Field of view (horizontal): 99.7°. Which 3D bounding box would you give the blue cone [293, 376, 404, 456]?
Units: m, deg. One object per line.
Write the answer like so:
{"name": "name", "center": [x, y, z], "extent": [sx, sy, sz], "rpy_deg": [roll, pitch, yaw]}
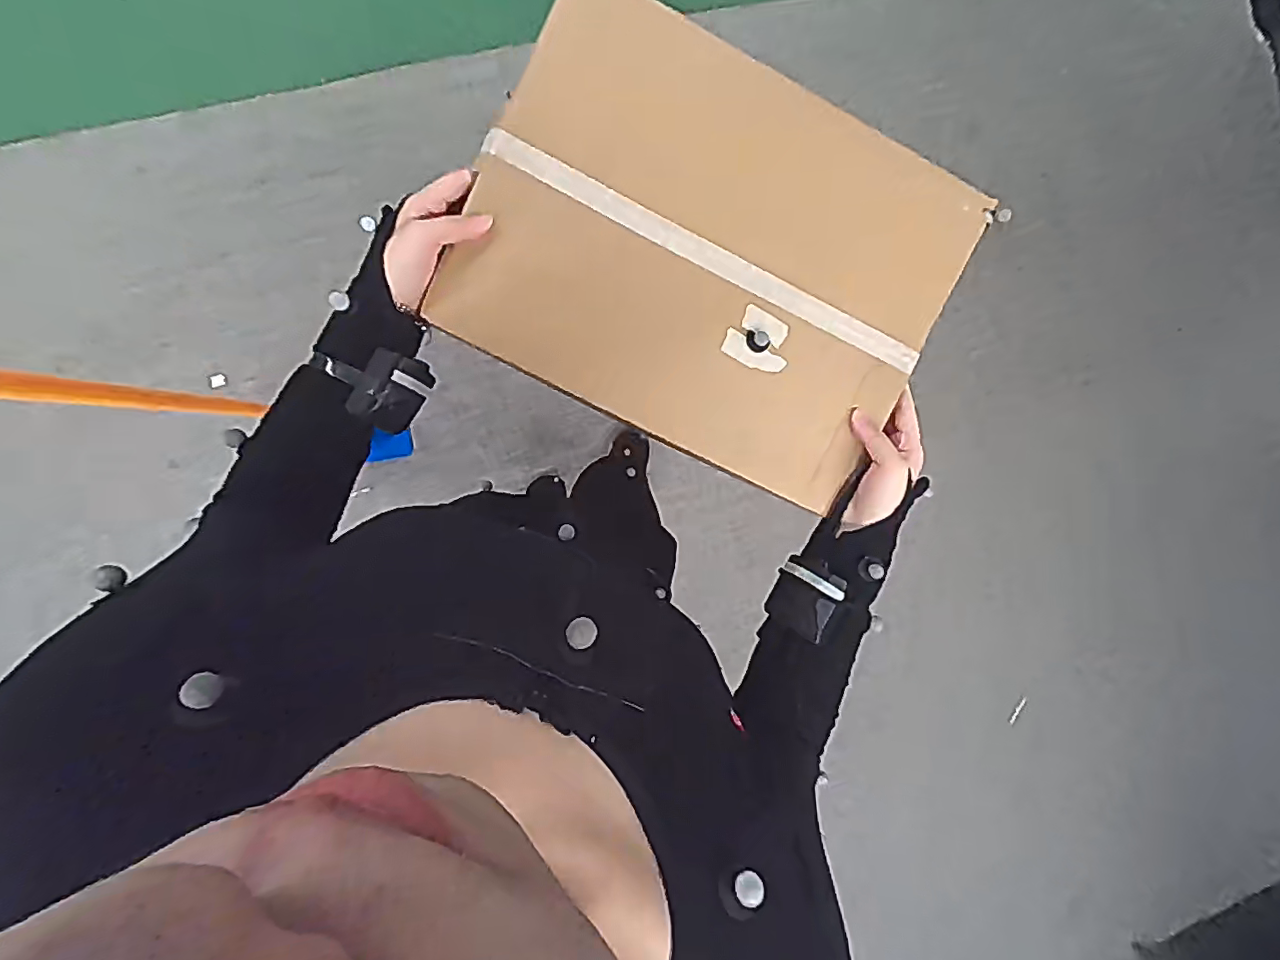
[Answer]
{"name": "blue cone", "center": [-0.685, -0.158, 1.229], "extent": [0.193, 0.380, 0.192], "rpy_deg": [-8, 93, -10]}

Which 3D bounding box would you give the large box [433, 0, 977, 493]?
{"name": "large box", "center": [0.049, -0.220, 0.617], "extent": [0.408, 0.320, 0.320], "rpy_deg": [25, 95, -8]}
